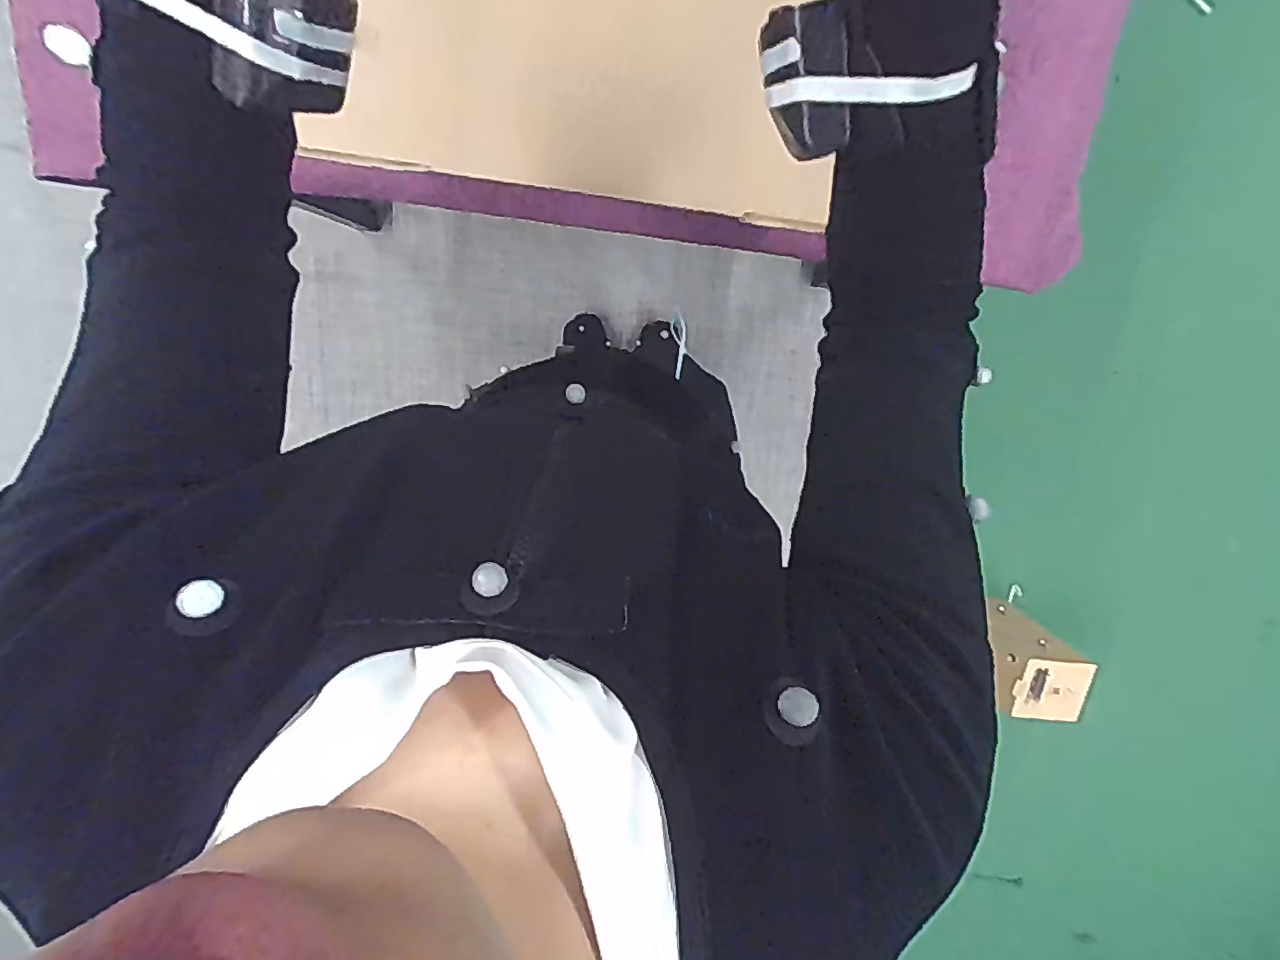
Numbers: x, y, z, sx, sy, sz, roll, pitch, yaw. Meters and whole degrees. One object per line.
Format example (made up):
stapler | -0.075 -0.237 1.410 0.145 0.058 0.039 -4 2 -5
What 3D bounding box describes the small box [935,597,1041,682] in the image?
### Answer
small box | 0.989 0.452 1.556 0.179 0.176 0.168 7 106 -4
